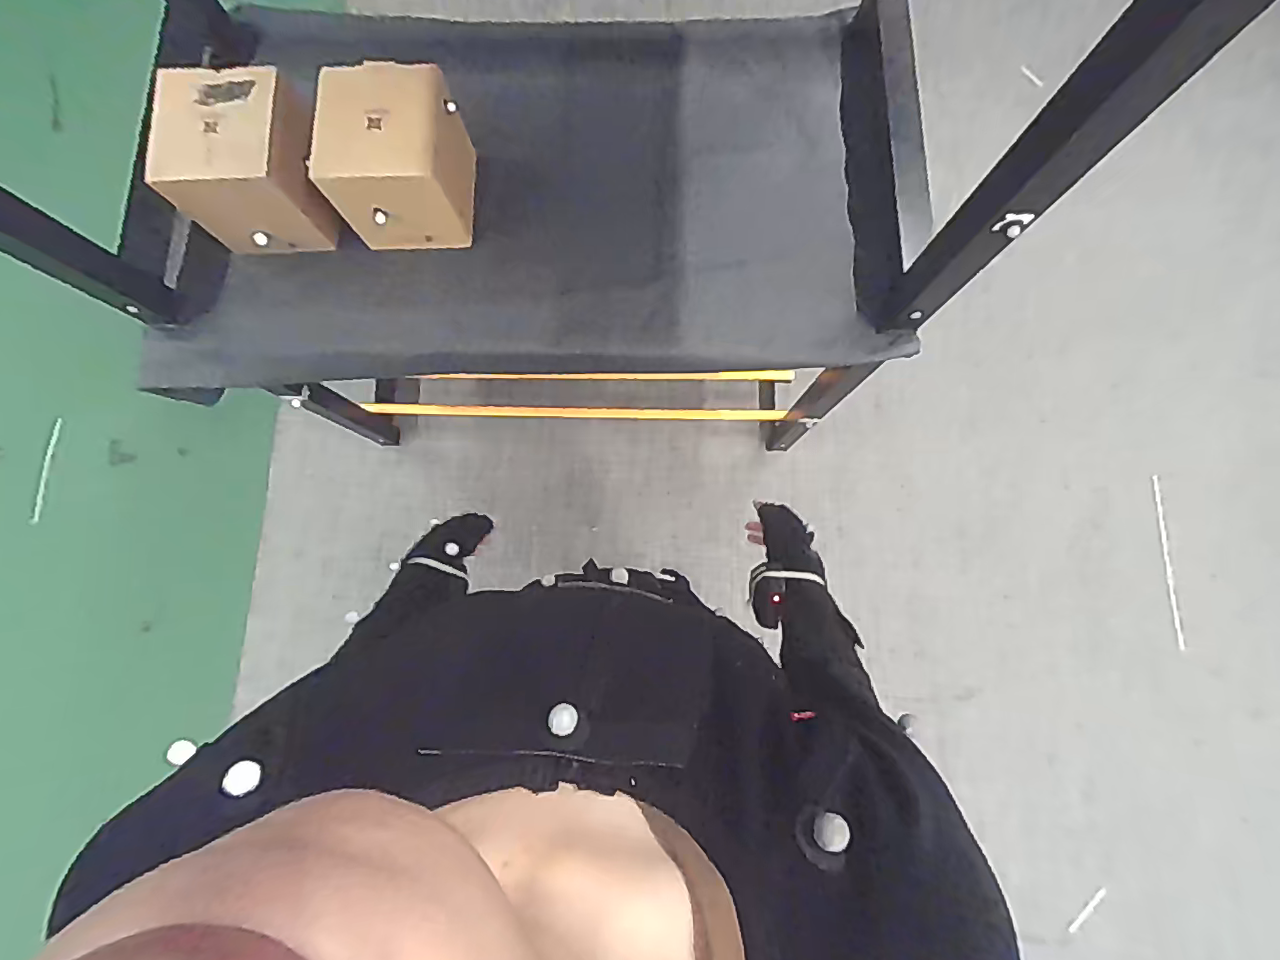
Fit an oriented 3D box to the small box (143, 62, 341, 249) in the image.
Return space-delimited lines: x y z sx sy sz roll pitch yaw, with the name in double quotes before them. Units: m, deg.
"small box" -0.573 -0.472 0.804 0.168 0.176 0.179 -2 80 1
